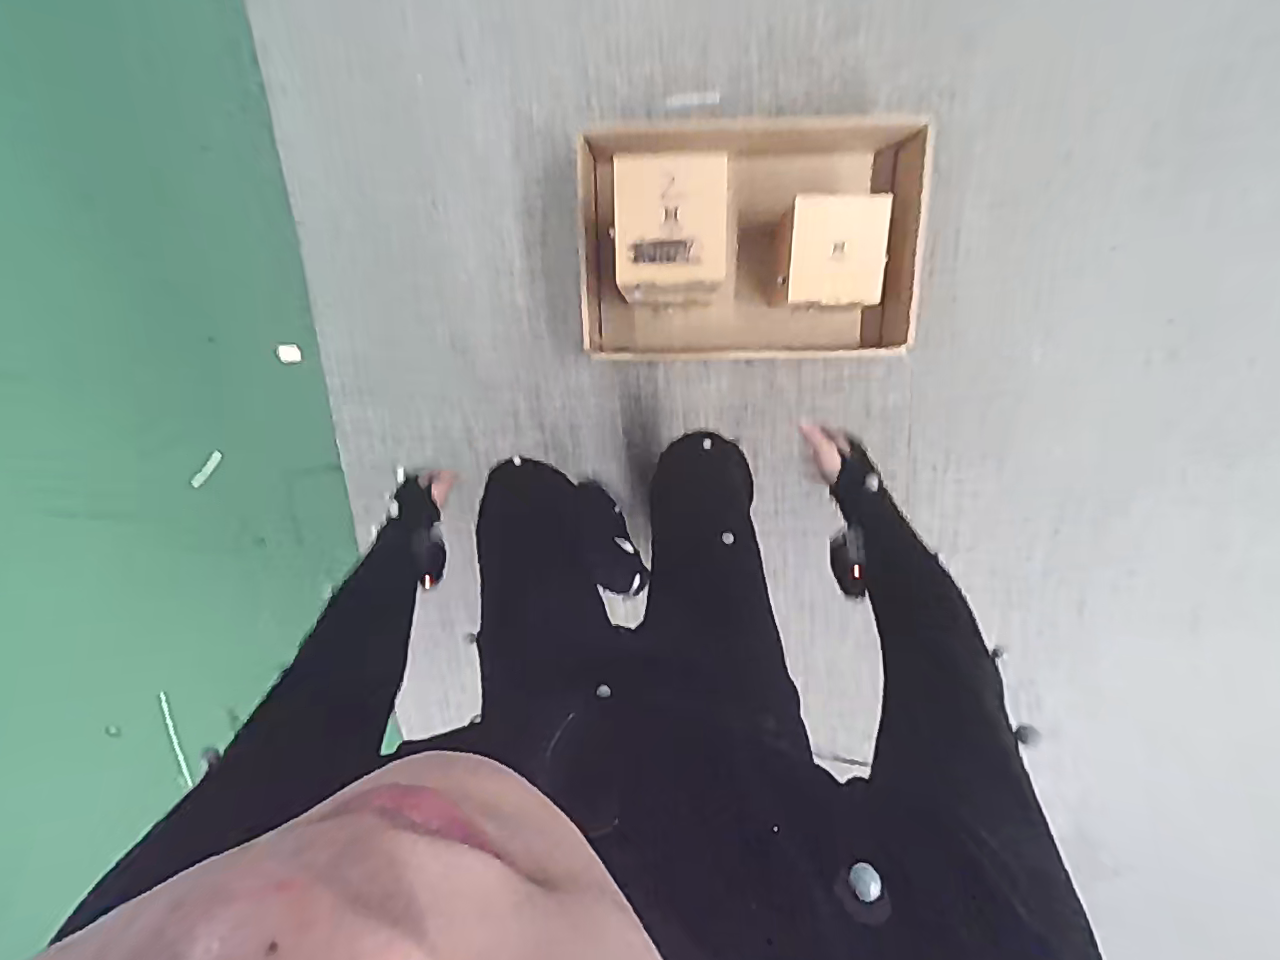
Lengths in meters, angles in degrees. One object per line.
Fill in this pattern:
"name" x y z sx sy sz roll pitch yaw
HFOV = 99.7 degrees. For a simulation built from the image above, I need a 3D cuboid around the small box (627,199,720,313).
"small box" 0.060 -0.419 1.035 0.168 0.176 0.179 0 102 3
